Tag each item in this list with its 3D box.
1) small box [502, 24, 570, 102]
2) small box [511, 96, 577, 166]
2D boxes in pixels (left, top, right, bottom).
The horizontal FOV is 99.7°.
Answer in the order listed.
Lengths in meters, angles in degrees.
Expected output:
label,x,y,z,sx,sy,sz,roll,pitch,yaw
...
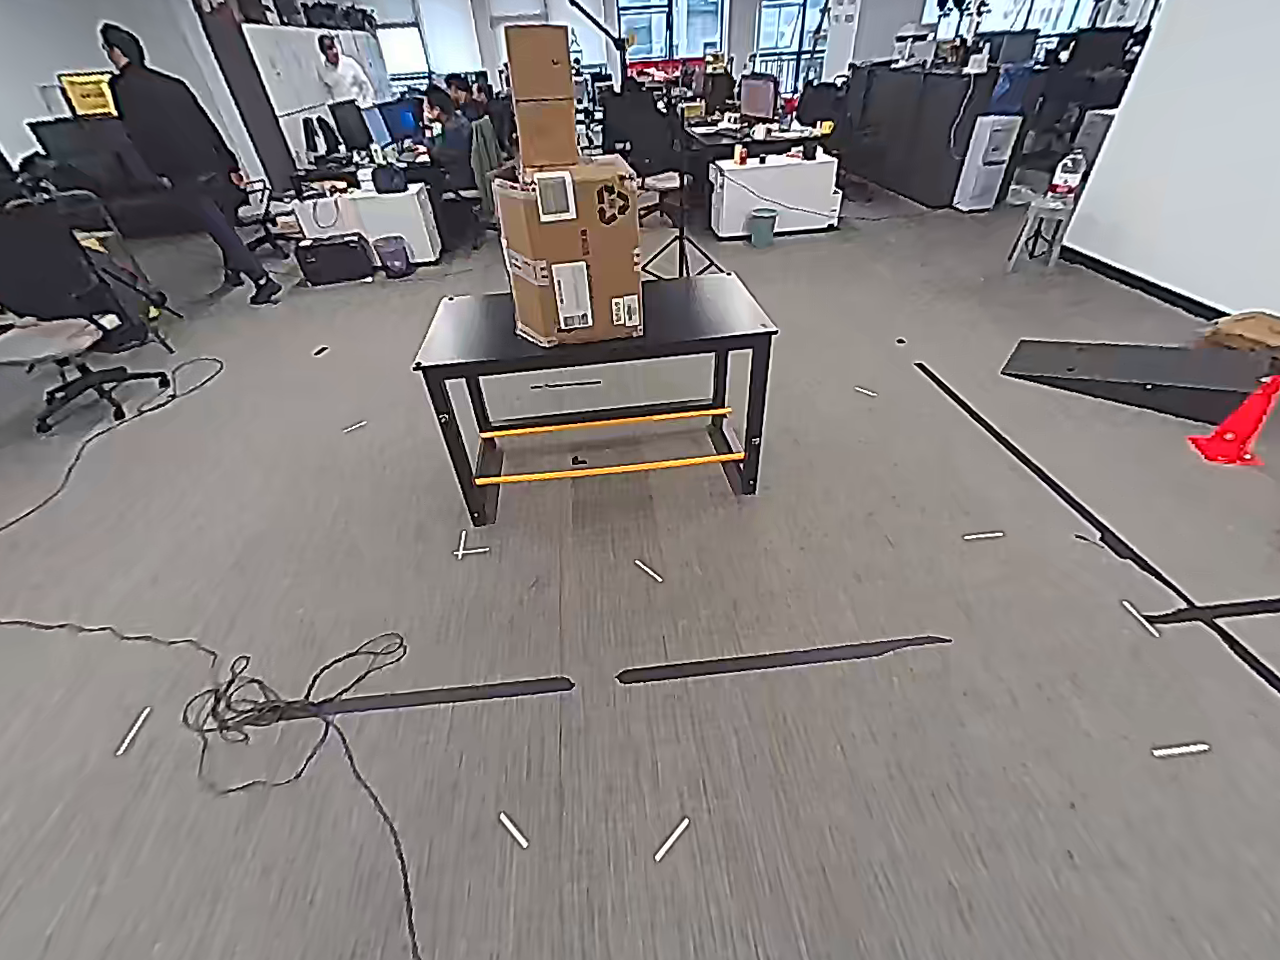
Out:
label,x,y,z,sx,sy,sz,roll,pitch,yaw
small box,-0.299,-1.206,1.569,0.179,0.176,0.168,-10,36,-9
small box,-0.295,-1.078,1.671,0.179,0.176,0.168,-8,37,-7
